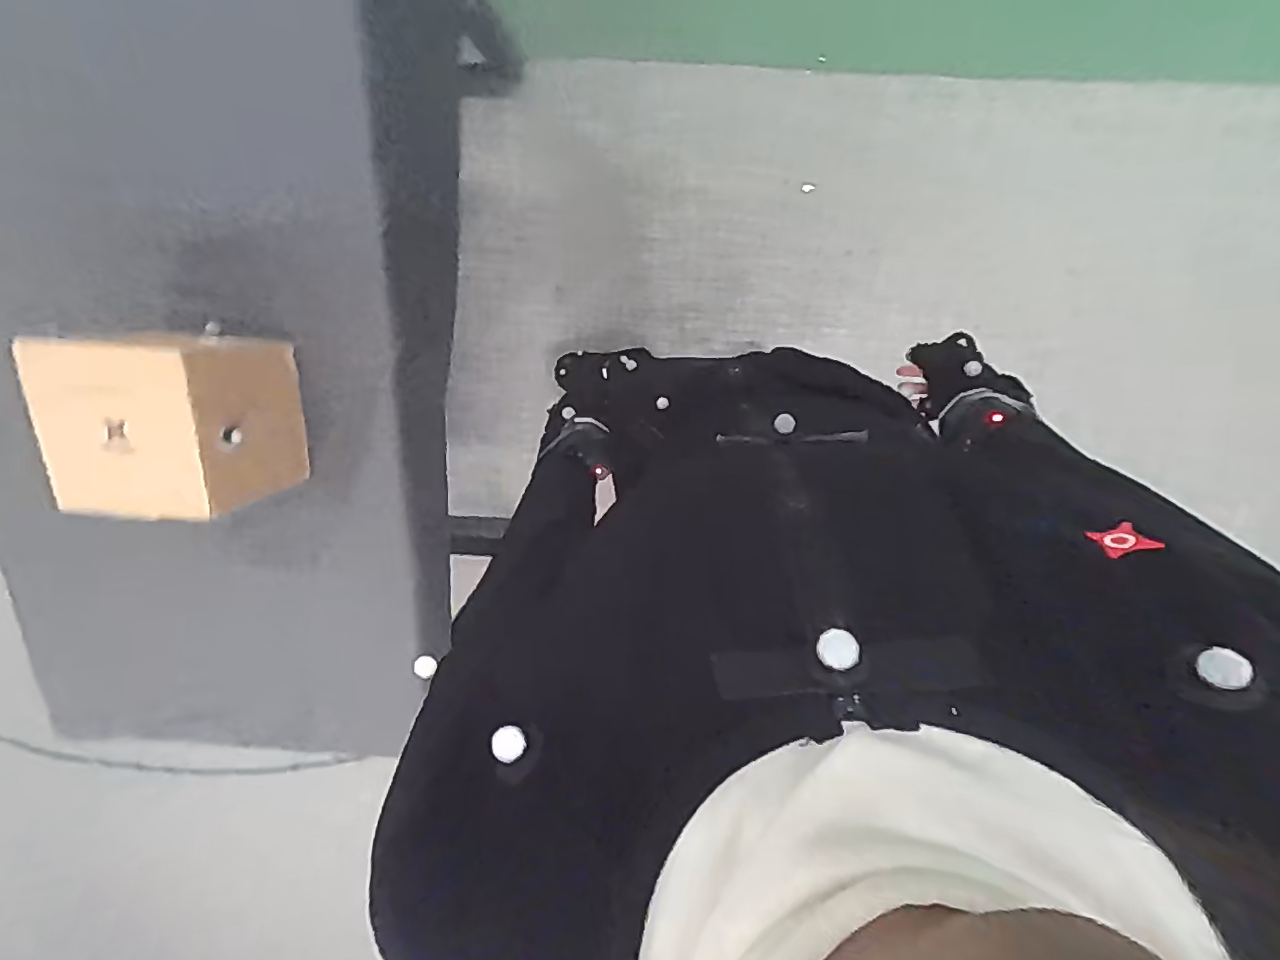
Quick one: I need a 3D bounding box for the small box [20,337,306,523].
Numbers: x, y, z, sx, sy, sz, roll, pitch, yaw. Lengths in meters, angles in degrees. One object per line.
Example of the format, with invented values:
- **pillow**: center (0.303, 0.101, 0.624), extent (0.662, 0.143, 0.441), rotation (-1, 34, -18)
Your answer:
- **small box**: center (-0.515, -0.066, 0.618), extent (0.168, 0.176, 0.179), rotation (3, 107, 1)
